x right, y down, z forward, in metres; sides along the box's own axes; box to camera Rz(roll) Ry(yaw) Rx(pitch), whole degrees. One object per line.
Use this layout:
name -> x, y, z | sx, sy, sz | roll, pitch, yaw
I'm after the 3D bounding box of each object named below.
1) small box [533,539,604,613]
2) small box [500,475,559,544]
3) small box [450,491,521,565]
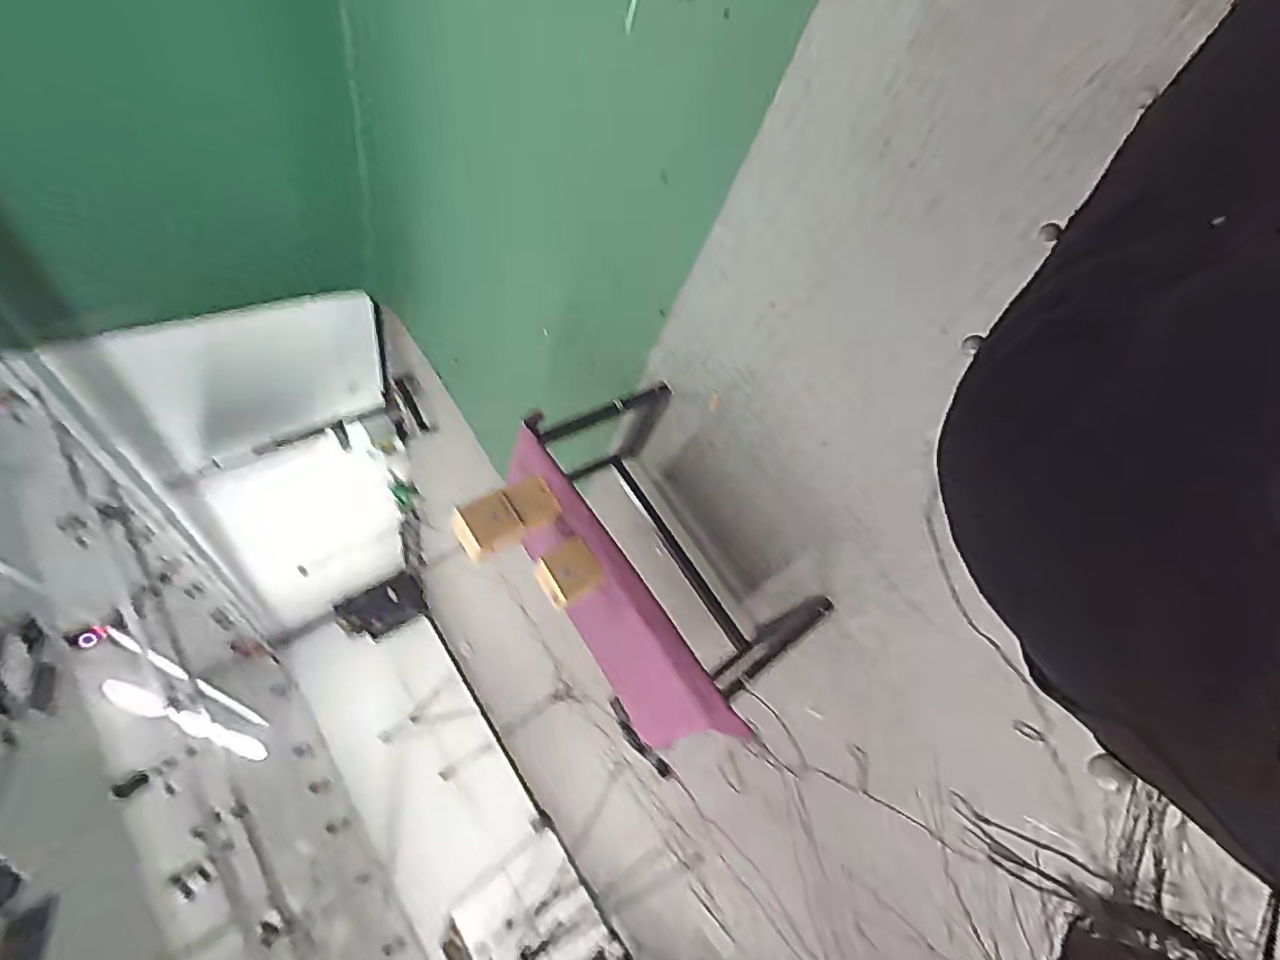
small box -> -0.252, 0.335, 1.902 | 0.179, 0.176, 0.168 | 56, 148, 13
small box -> -0.415, 0.104, 1.970 | 0.168, 0.176, 0.179 | 57, 147, 8
small box -> -0.532, 0.162, 1.867 | 0.168, 0.176, 0.179 | 56, 147, 11
